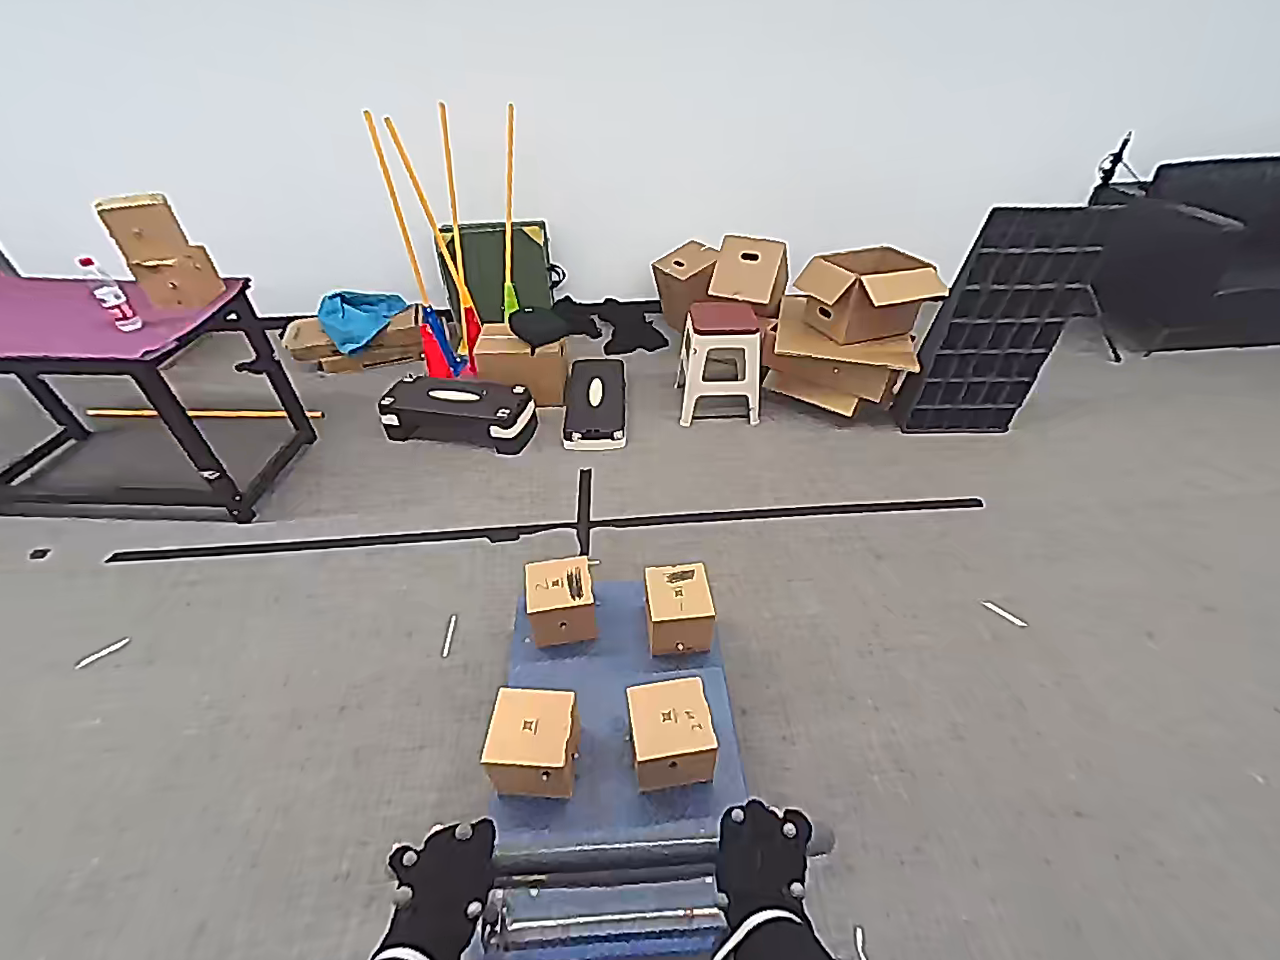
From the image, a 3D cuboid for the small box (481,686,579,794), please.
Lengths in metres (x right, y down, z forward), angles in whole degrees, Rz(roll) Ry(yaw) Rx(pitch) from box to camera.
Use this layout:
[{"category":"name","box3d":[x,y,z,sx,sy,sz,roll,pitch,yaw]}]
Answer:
[{"category":"small box","box3d":[-0.238,0.585,1.215,0.179,0.176,0.168,3,41,2]}]

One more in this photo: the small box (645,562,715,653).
[{"category":"small box","box3d":[0.103,0.349,1.480,0.168,0.176,0.179,-4,42,-4]}]

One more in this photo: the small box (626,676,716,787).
[{"category":"small box","box3d":[0.066,0.572,1.226,0.179,0.176,0.168,-6,42,-6]}]
